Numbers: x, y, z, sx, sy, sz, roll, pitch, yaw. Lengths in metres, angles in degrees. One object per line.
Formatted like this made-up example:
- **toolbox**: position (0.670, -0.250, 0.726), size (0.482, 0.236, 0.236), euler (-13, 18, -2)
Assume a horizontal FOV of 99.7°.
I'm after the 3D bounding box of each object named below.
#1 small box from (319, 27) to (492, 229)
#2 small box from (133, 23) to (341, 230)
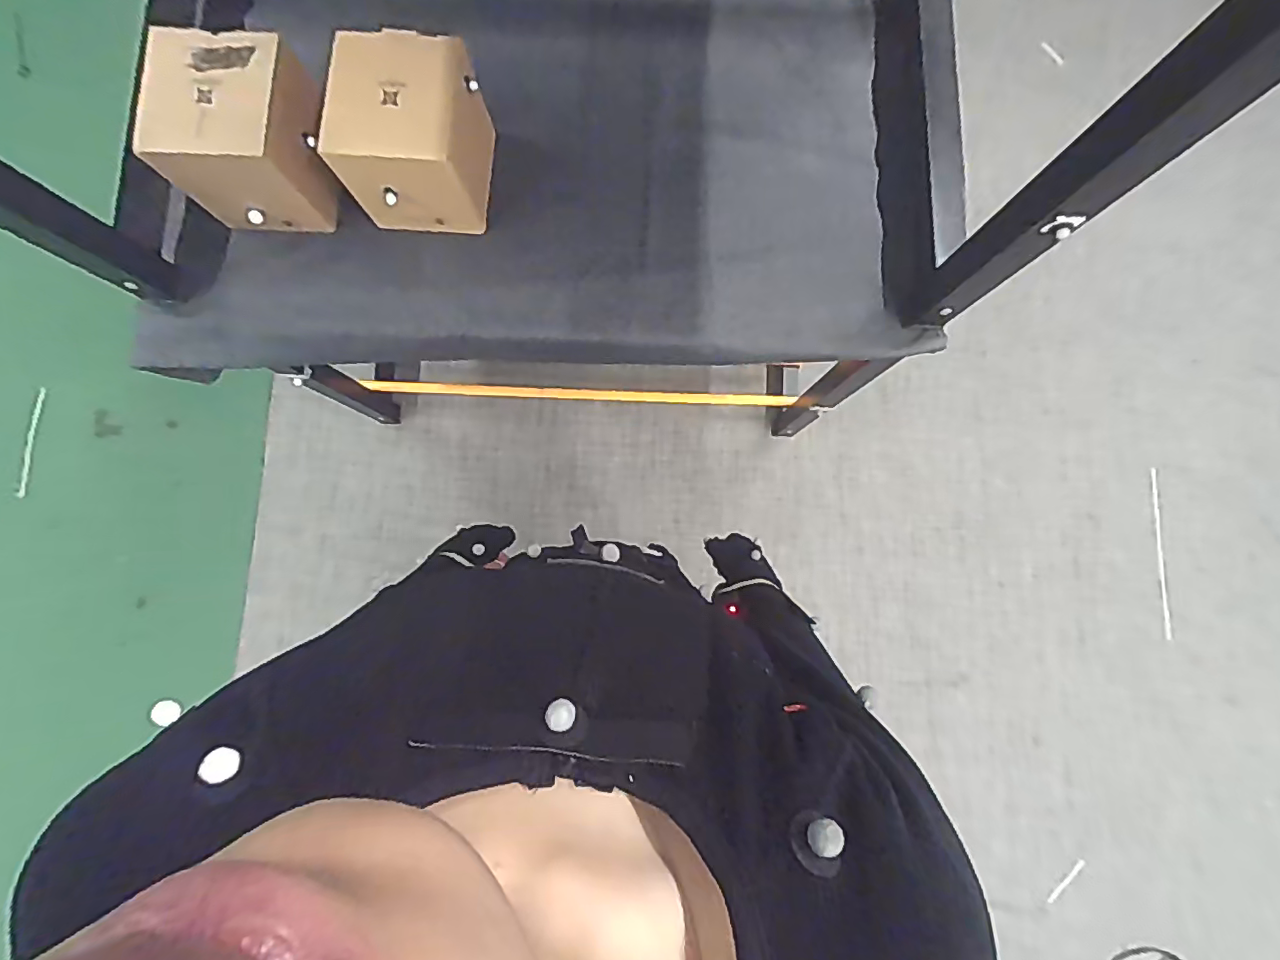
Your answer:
- **small box**: position (-0.317, -0.483, 0.766), size (0.168, 0.176, 0.179), euler (3, 82, -1)
- **small box**: position (-0.544, -0.484, 0.760), size (0.168, 0.176, 0.179), euler (2, 83, -1)
